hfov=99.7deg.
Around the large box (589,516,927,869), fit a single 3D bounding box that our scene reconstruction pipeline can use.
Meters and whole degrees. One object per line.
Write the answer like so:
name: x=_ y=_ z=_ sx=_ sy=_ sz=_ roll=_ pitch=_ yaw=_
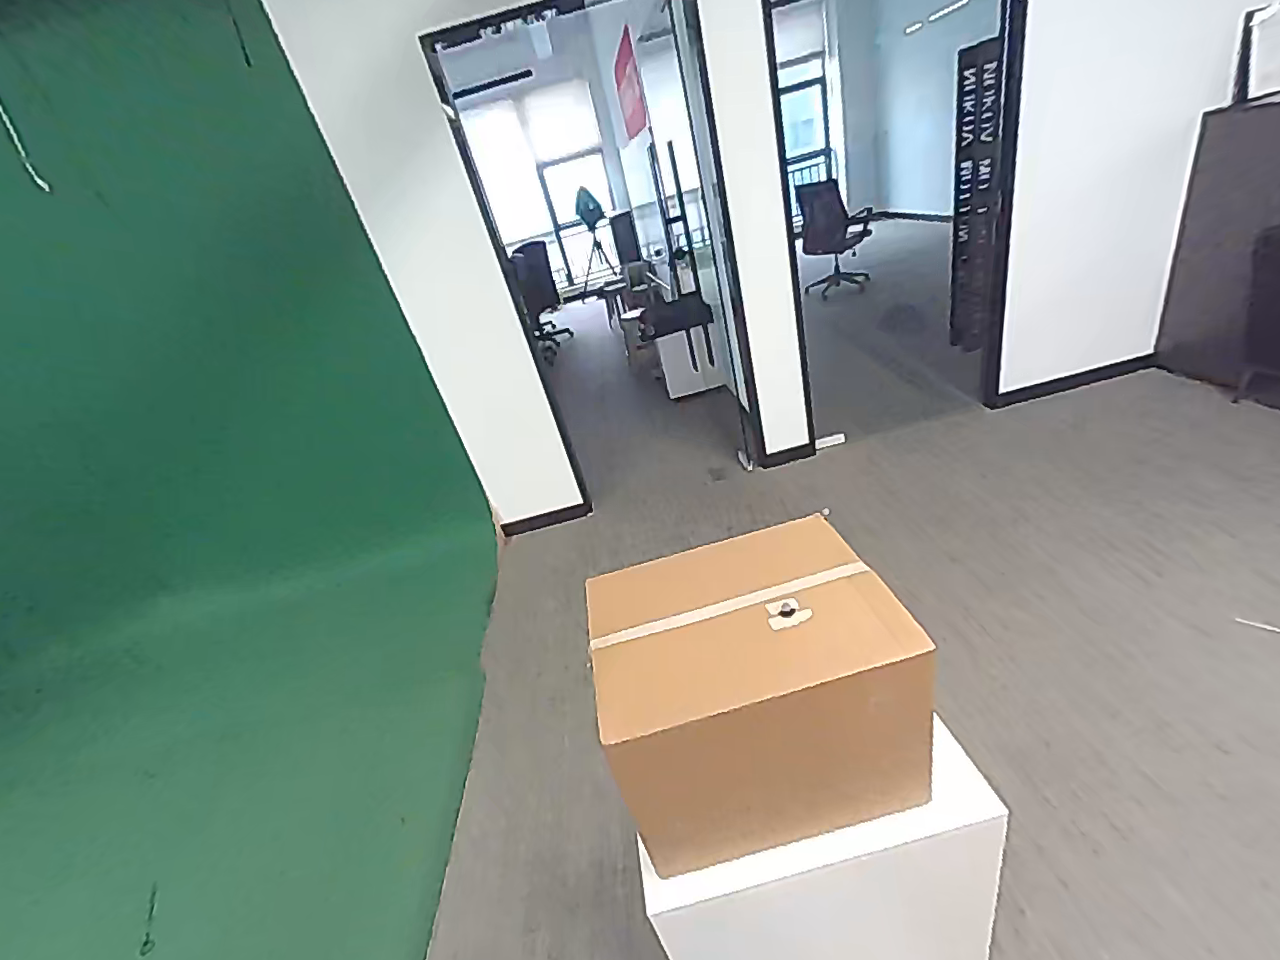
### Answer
large box: x=0.160 y=0.307 z=0.831 sx=0.408 sy=0.320 sz=0.320 roll=-15 pitch=29 yaw=-2
